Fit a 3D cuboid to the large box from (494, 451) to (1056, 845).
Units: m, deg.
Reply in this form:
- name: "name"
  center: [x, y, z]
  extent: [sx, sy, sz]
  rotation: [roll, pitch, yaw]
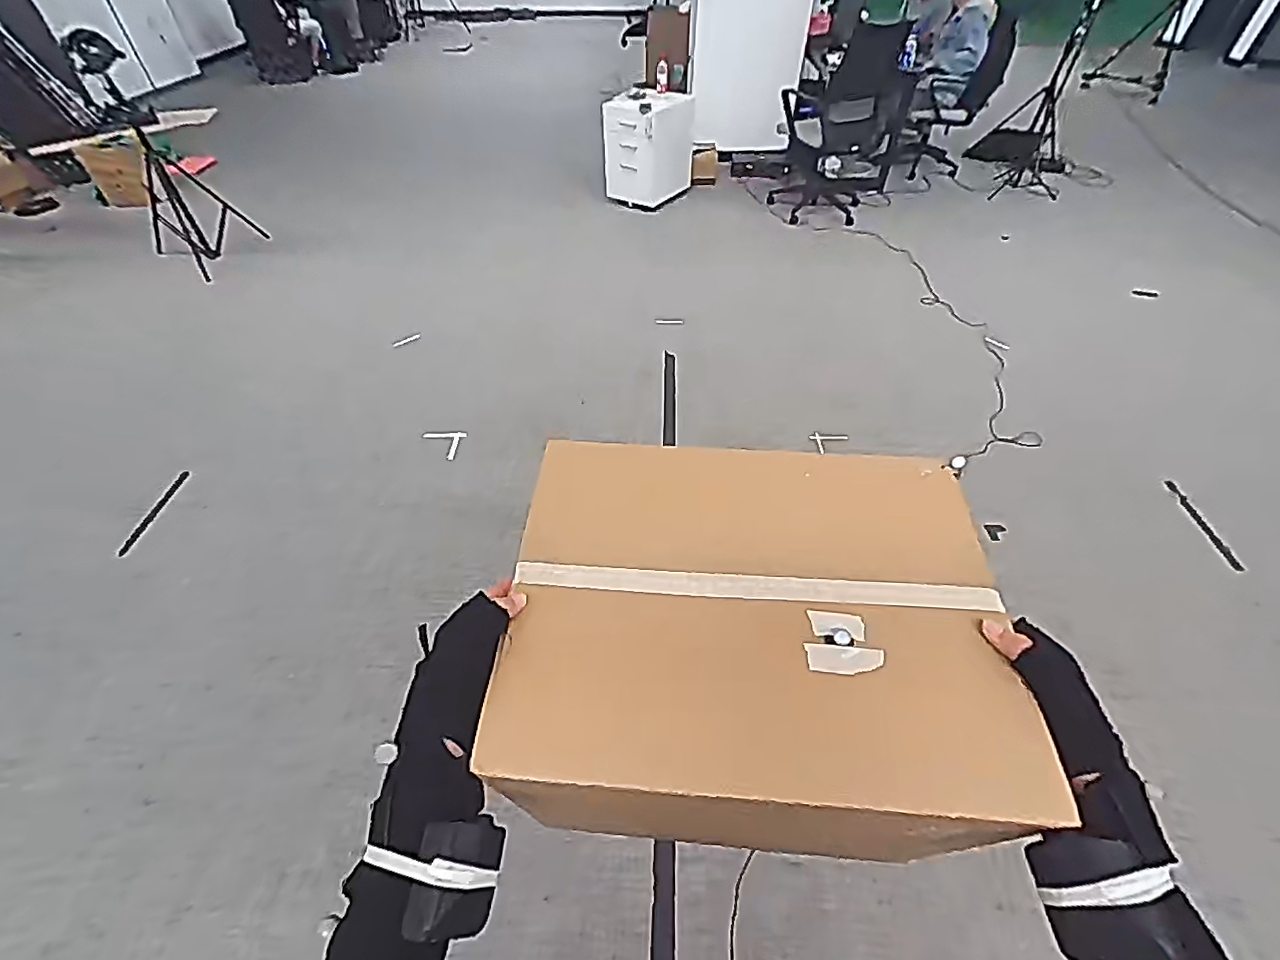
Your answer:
- name: "large box"
  center: [0.100, 0.188, 0.587]
  extent: [0.408, 0.320, 0.320]
  rotation: [3, 53, 3]
